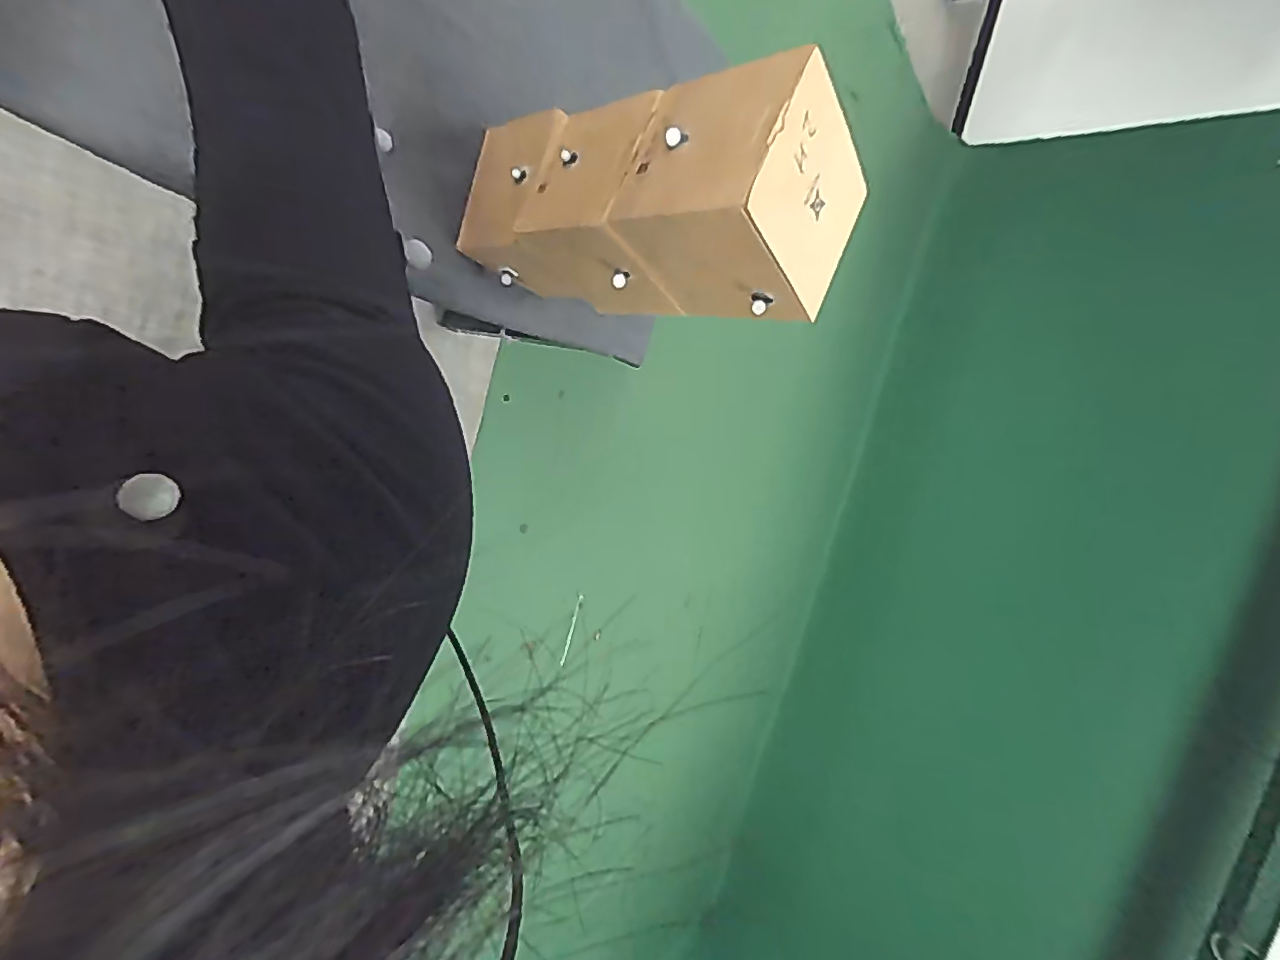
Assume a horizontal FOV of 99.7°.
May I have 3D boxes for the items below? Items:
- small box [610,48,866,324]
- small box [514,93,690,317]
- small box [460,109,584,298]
[{"bbox_3d":[0.103,-0.284,0.561,0.179,0.176,0.168,31,80,-48],"label":"small box"},{"bbox_3d":[-0.018,-0.322,0.666,0.179,0.176,0.168,29,82,-48],"label":"small box"},{"bbox_3d":[-0.131,-0.377,0.771,0.168,0.176,0.179,13,95,-49],"label":"small box"}]
